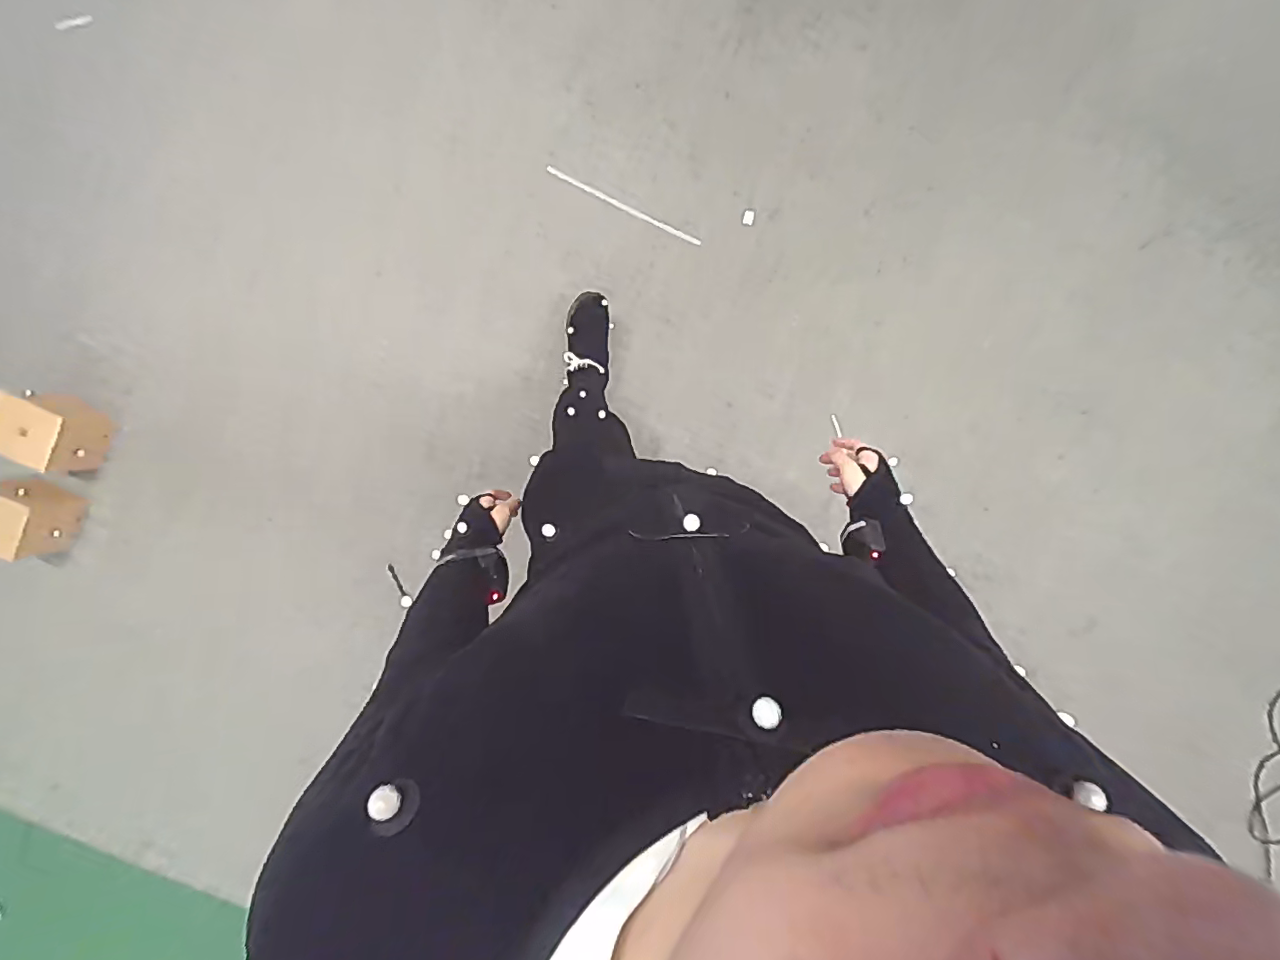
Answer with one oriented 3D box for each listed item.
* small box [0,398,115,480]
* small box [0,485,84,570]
[{"bbox_3d":[-1.628,-0.118,1.494,0.179,0.176,0.168,25,95,-3],"label":"small box"},{"bbox_3d":[-1.740,0.124,1.515,0.179,0.176,0.168,25,95,-3],"label":"small box"}]
